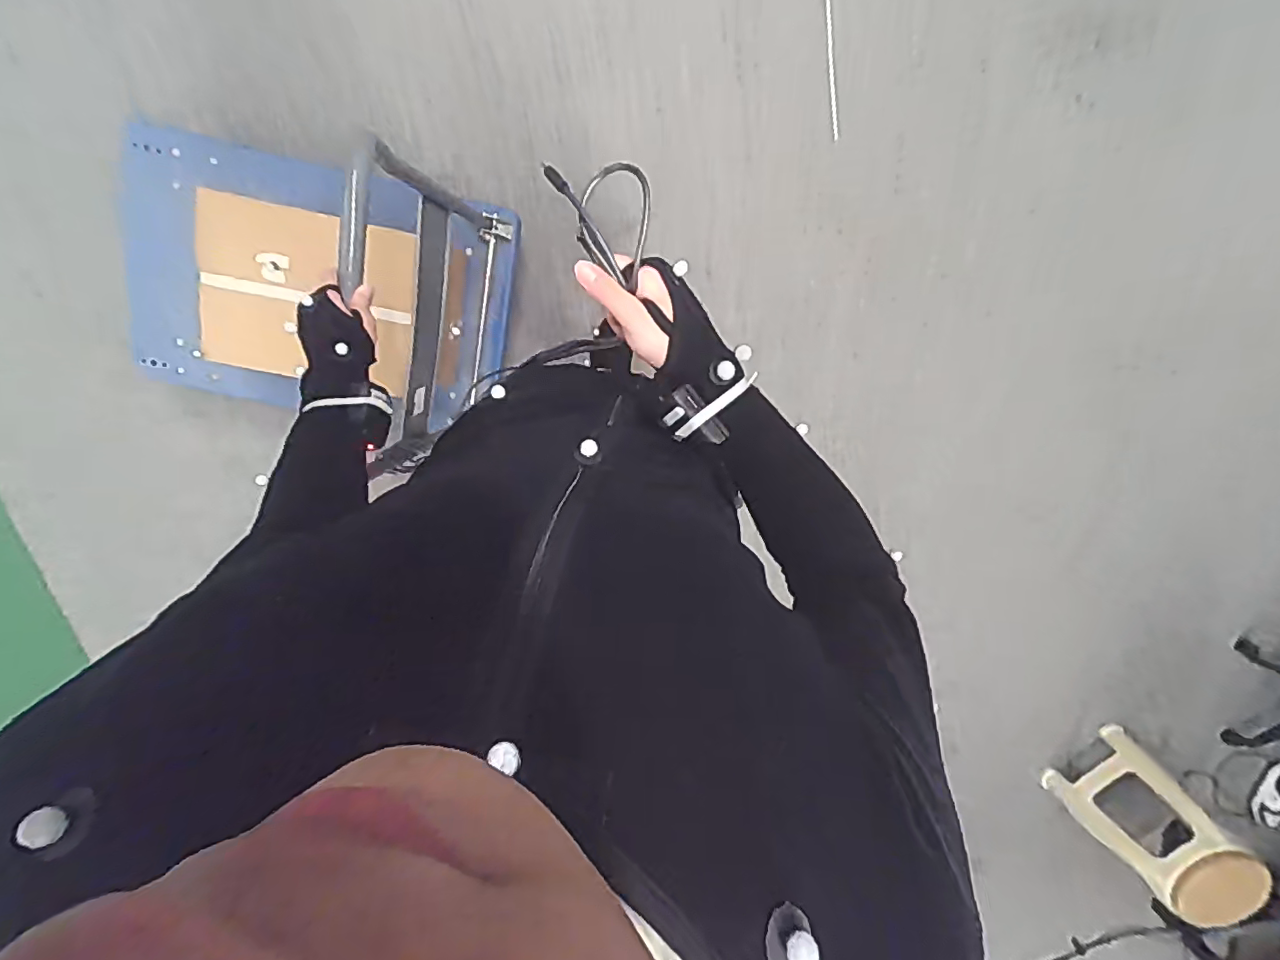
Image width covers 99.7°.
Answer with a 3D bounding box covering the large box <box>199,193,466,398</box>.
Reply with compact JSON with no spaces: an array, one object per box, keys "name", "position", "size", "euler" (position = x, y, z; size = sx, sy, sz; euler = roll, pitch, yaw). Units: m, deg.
[{"name":"large box","position":[-0.626,-0.383,1.167],"size":[0.408,0.320,0.320],"euler":[11,106,-5]}]
